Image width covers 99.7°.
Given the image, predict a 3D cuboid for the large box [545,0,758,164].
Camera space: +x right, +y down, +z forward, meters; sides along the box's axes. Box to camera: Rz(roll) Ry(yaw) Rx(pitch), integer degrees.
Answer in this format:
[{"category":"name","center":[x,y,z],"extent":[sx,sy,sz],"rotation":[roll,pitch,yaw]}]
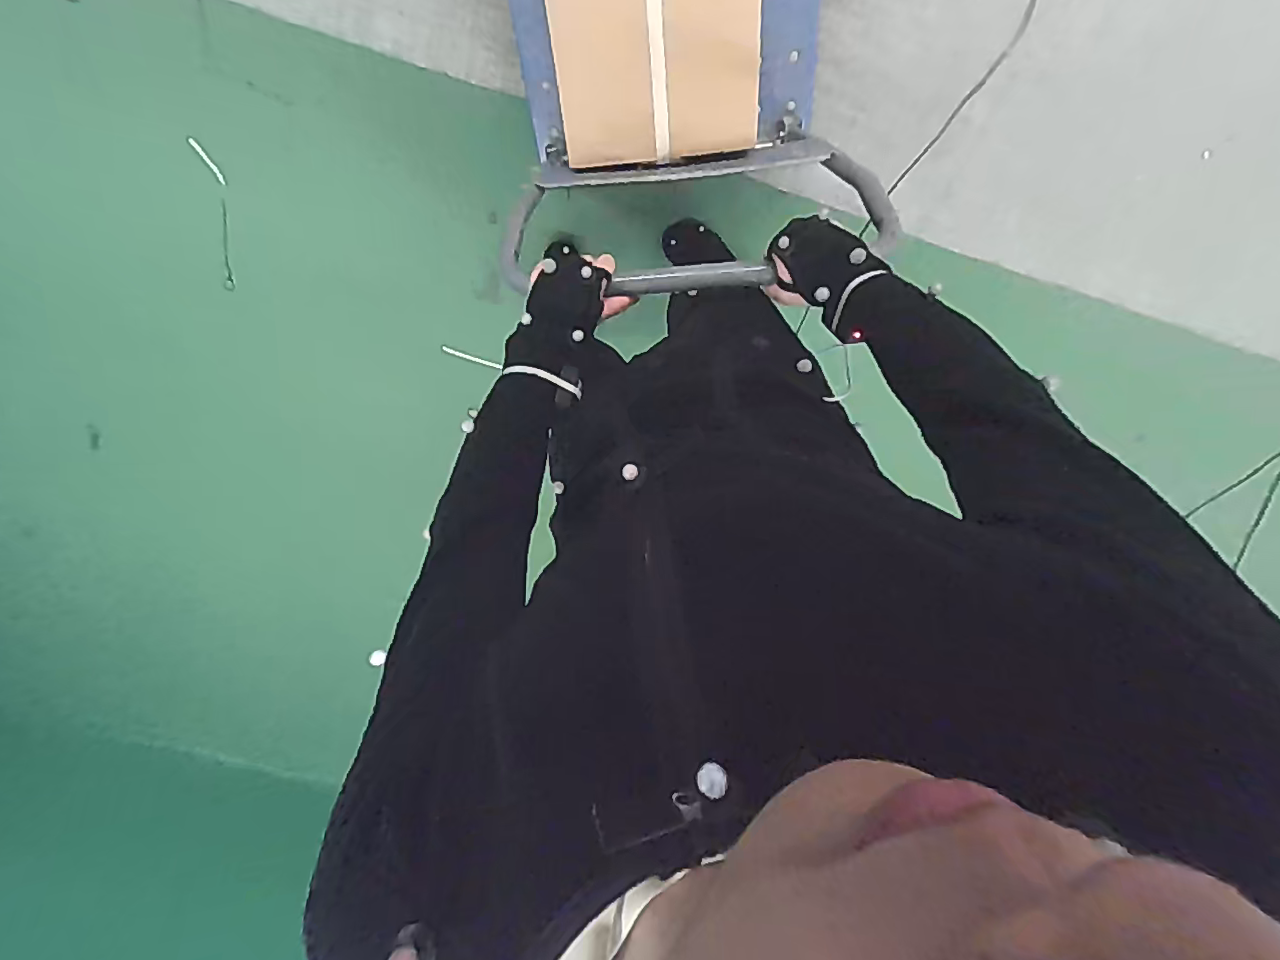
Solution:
[{"category":"large box","center":[0.018,-0.789,0.904],"extent":[0.320,0.320,0.408],"rotation":[-4,125,4]}]
